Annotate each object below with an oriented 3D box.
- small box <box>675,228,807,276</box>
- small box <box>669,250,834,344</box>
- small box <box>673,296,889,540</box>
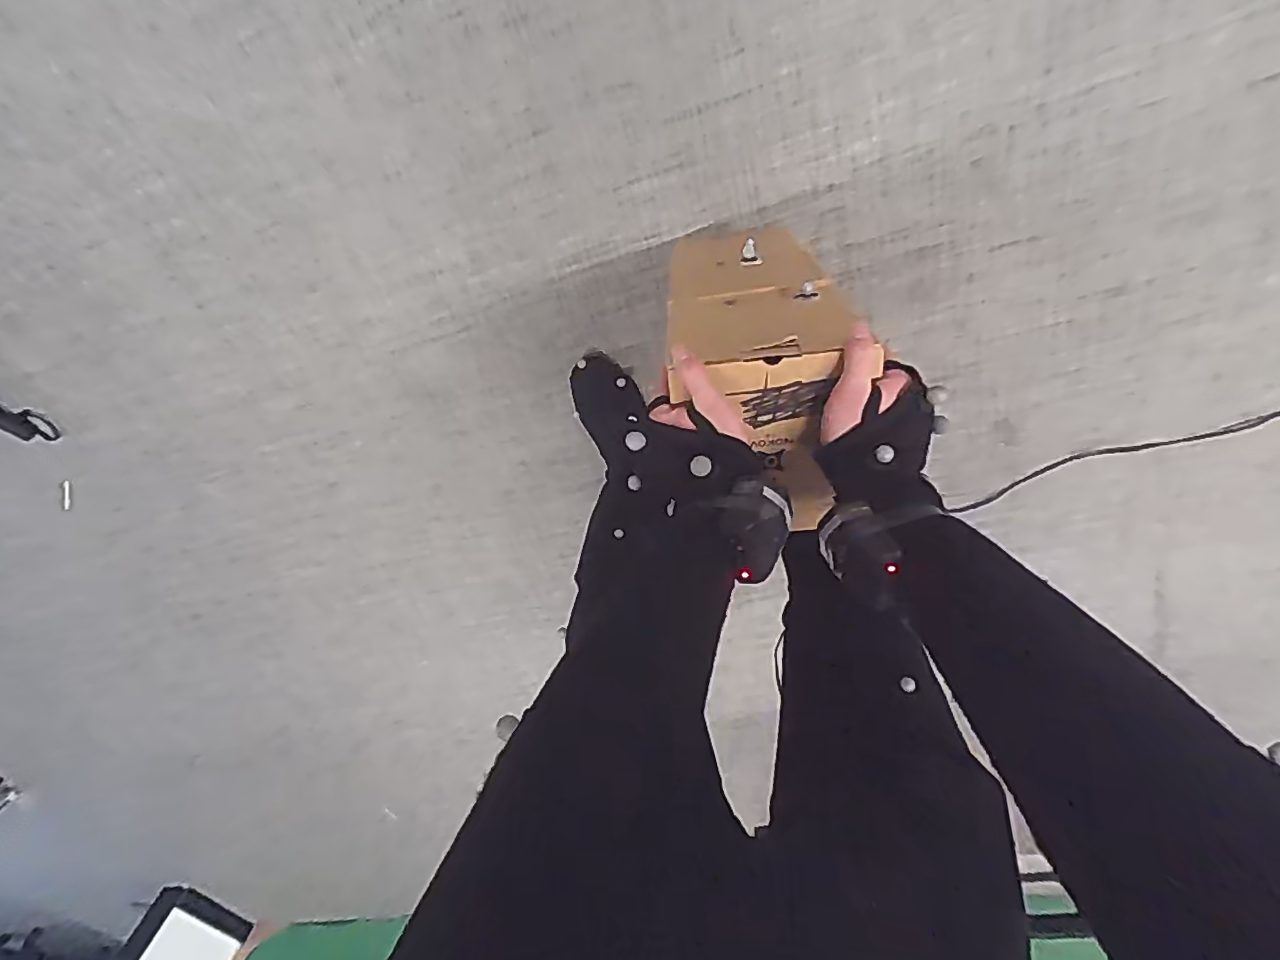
[{"bbox_3d":[0.145,-0.249,0.785,0.168,0.176,0.179,-4,124,10],"label":"small box"},{"bbox_3d":[0.130,-0.159,0.651,0.168,0.176,0.179,-6,122,9],"label":"small box"},{"bbox_3d":[0.120,-0.066,0.519,0.168,0.176,0.179,-4,125,9],"label":"small box"}]
